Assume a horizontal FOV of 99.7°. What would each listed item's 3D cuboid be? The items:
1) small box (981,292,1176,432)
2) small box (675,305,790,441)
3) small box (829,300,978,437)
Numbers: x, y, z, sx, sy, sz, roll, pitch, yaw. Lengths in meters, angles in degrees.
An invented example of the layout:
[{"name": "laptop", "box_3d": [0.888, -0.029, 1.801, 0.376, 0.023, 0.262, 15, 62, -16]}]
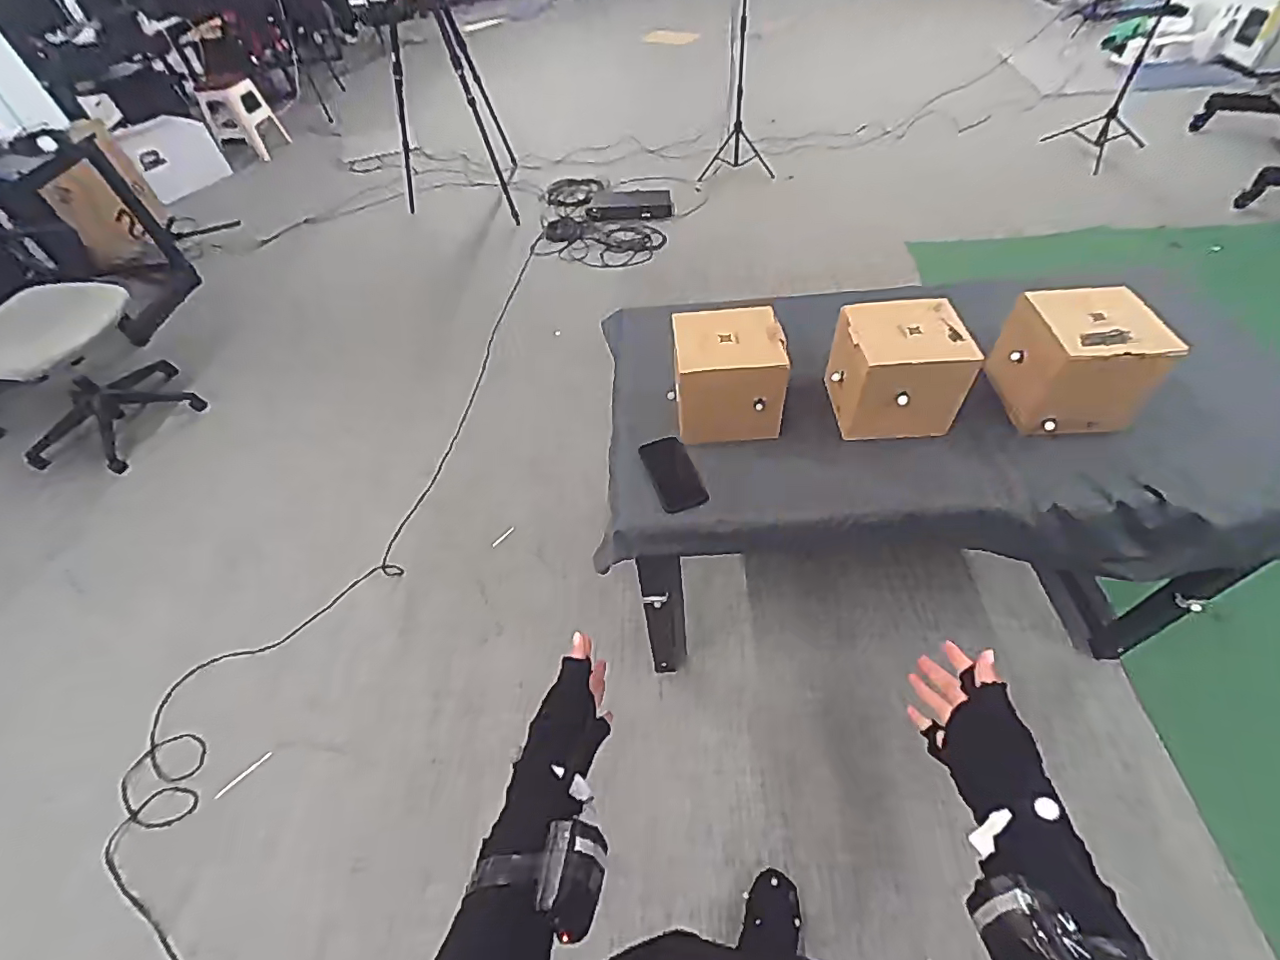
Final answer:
[{"name": "small box", "box_3d": [0.722, -0.195, 0.917, 0.168, 0.176, 0.179, -1, 51, 4]}, {"name": "small box", "box_3d": [0.154, -0.186, 0.962, 0.179, 0.176, 0.168, -5, 50, 3]}, {"name": "small box", "box_3d": [0.437, -0.188, 0.938, 0.179, 0.176, 0.168, -3, 52, 4]}]
